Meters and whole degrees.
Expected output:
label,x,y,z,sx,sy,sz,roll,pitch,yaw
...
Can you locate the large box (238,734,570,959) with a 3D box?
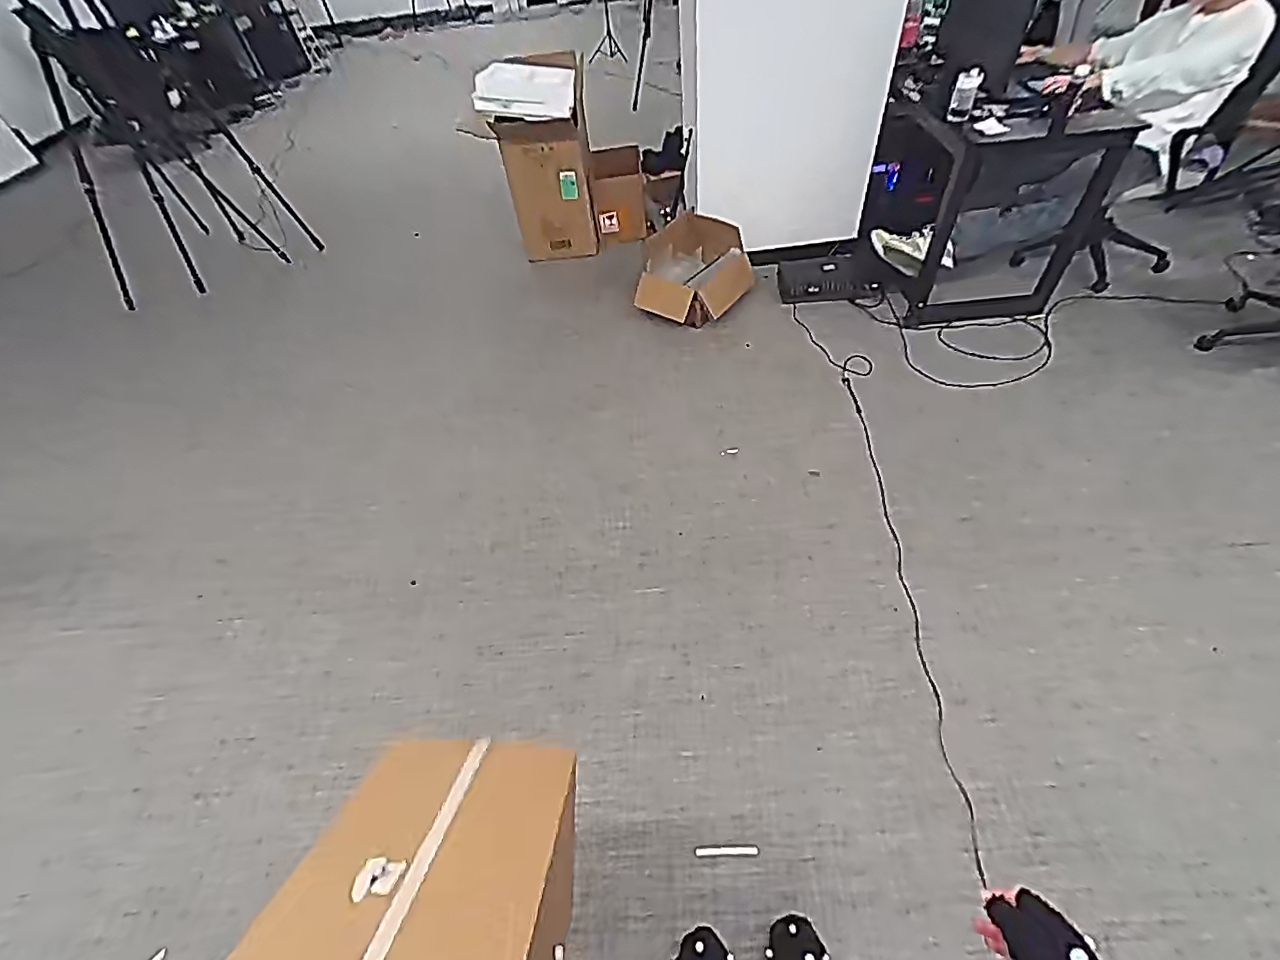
label,x,y,z,sx,sy,sz,roll,pitch,yaw
large box,-0.284,0.633,0.764,0.320,0.320,0.408,2,13,2
